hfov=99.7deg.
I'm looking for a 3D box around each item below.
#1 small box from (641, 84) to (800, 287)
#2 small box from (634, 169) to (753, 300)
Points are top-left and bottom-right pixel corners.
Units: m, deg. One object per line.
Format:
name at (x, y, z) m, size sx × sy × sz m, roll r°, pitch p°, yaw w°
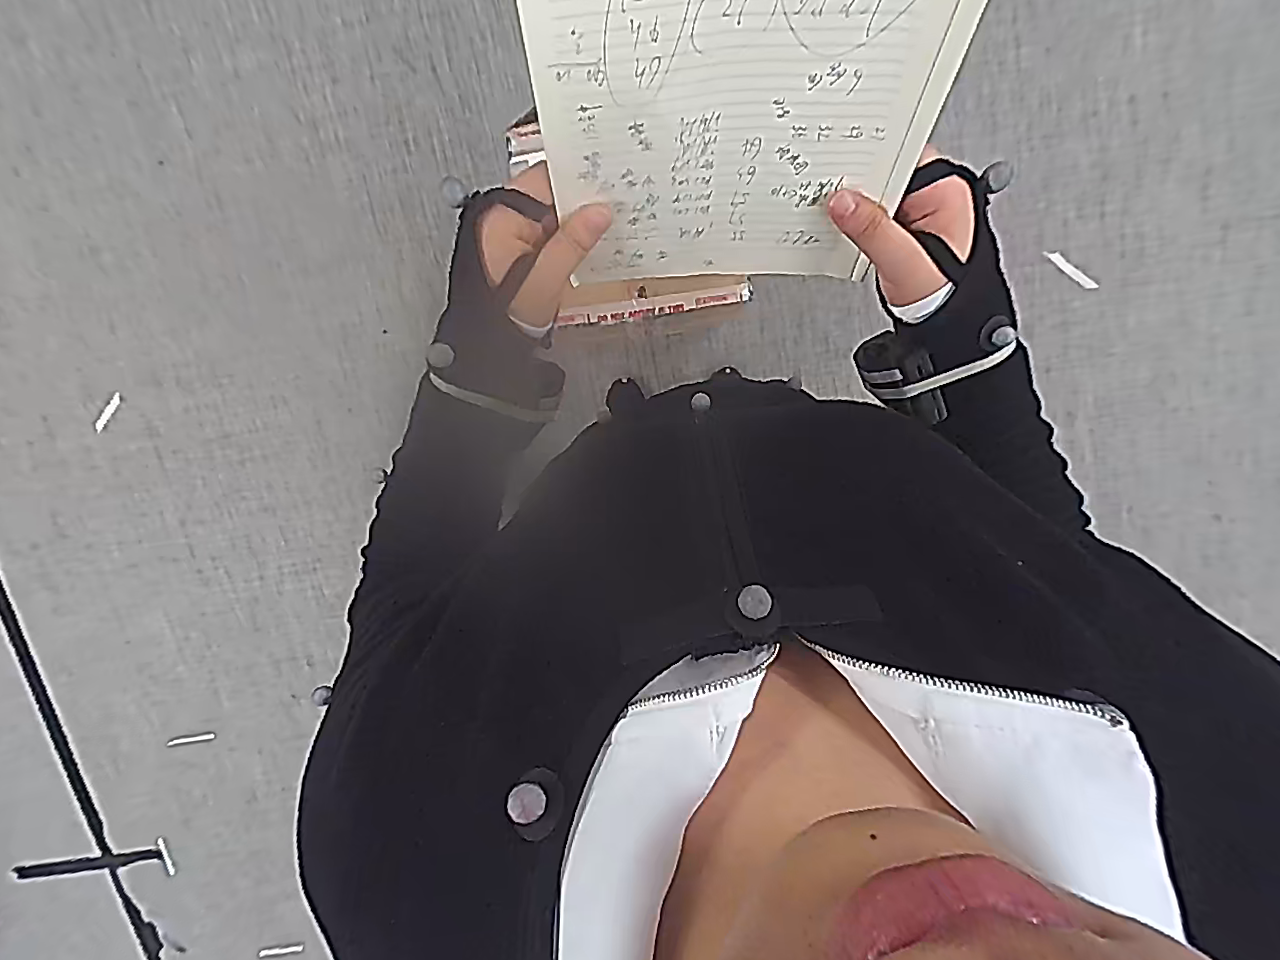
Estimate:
small box at (0.094, -0.362, 0.697) m, size 0.168 × 0.176 × 0.179 m, roll -9°, pitch 102°, yaw 1°
small box at (0.089, -0.393, 0.858) m, size 0.179 × 0.176 × 0.168 m, roll -12°, pitch 101°, yaw 2°
